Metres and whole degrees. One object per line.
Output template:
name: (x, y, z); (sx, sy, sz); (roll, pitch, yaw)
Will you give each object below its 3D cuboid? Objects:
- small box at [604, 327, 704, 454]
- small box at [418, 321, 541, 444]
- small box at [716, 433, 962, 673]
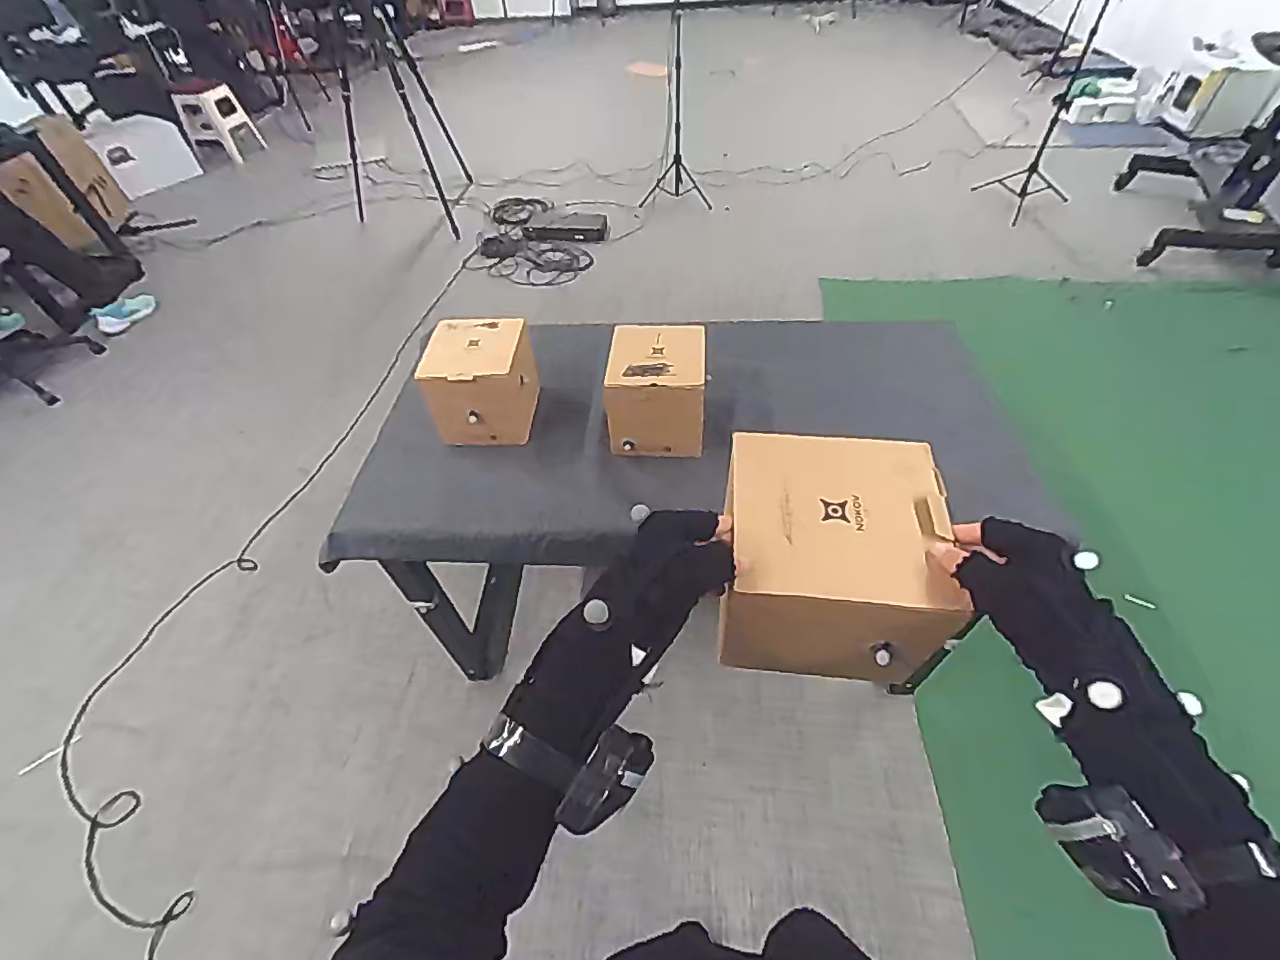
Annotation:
small box: (0.033, -0.162, 0.996); (0.168, 0.176, 0.179); (1, 48, 6)
small box: (-0.295, -0.181, 1.037); (0.168, 0.176, 0.179); (-1, 50, 3)
small box: (0.165, 0.074, 0.517); (0.179, 0.176, 0.168); (1, 52, 7)
